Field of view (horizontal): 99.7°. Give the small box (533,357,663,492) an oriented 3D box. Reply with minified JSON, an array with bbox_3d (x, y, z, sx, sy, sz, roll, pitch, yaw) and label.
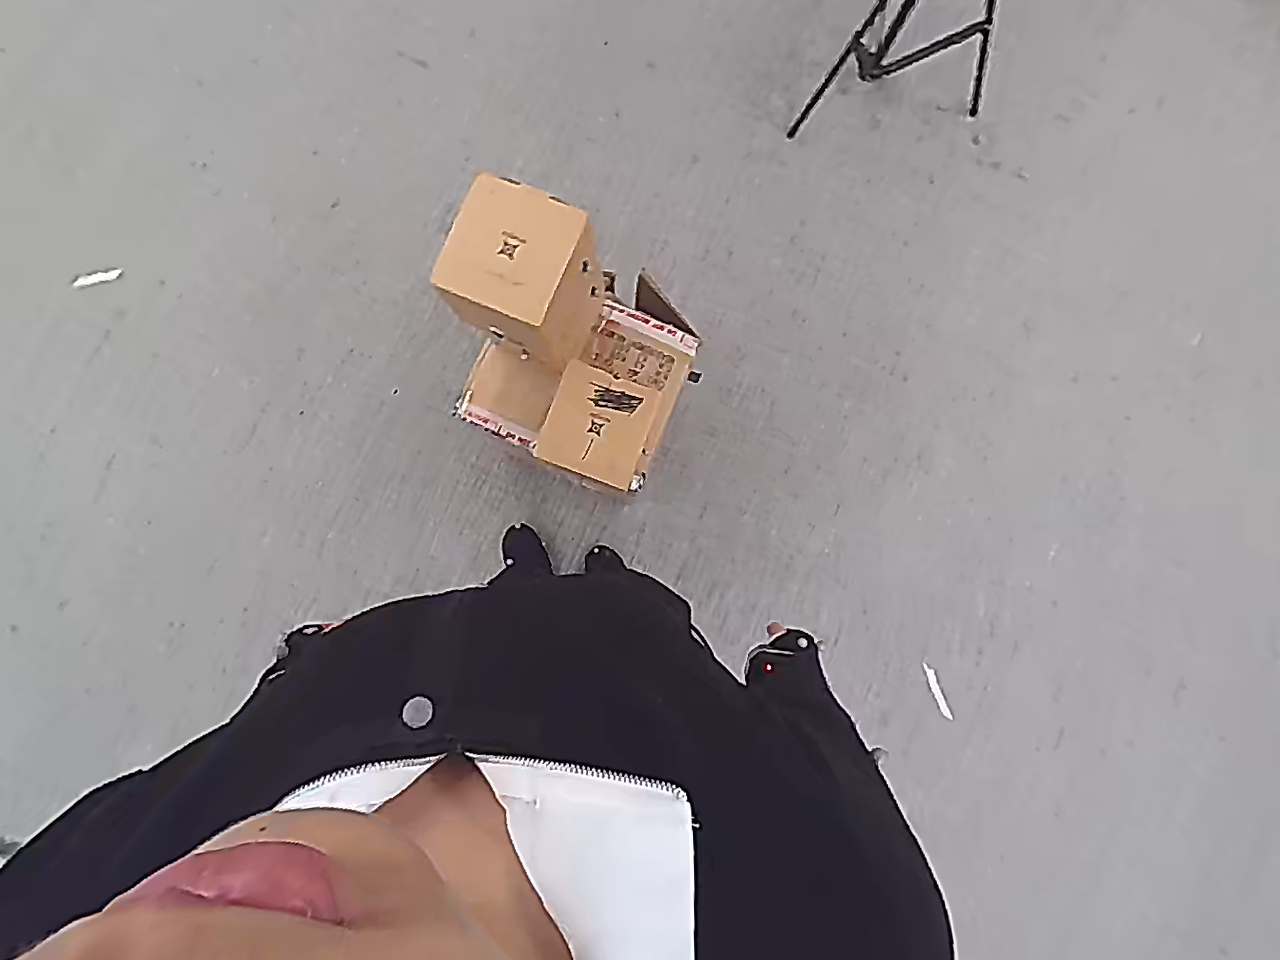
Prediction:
[{"bbox_3d":[-0.072,-0.089,0.956,0.168,0.176,0.179,22,87,-1],"label":"small box"}]

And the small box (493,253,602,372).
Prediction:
[{"bbox_3d":[-0.174,-0.318,0.968,0.168,0.176,0.179,23,86,1],"label":"small box"}]

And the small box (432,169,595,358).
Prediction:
[{"bbox_3d":[-0.173,-0.308,0.804,0.168,0.176,0.179,22,87,2],"label":"small box"}]
